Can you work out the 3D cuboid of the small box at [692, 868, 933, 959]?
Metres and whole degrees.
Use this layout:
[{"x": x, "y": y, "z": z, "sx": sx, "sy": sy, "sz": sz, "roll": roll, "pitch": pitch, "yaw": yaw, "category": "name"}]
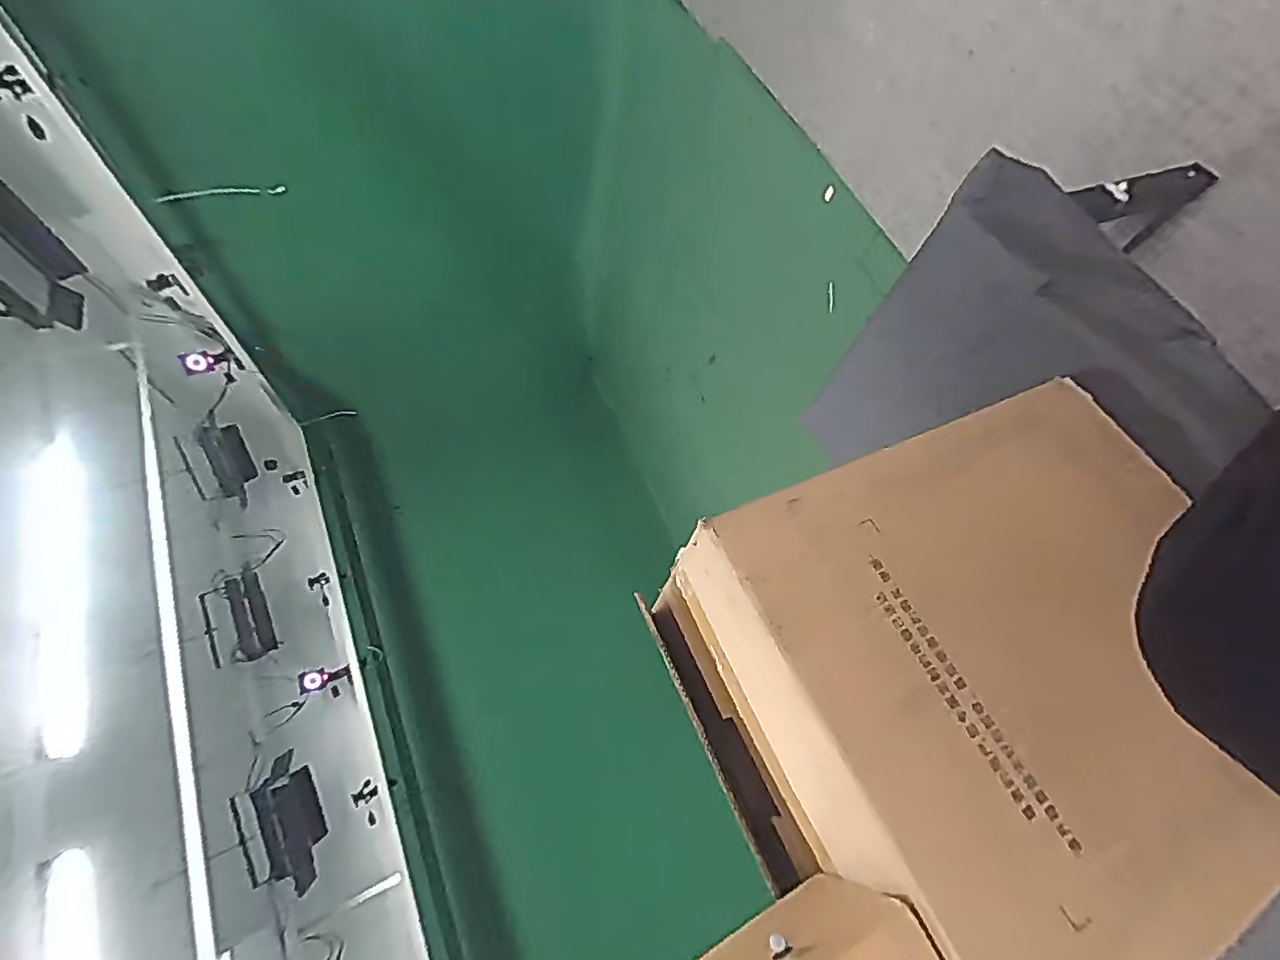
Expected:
[{"x": 0.173, "y": 0.485, "z": 0.482, "sx": 0.168, "sy": 0.176, "sz": 0.179, "roll": 63, "pitch": 160, "yaw": 23, "category": "small box"}]
